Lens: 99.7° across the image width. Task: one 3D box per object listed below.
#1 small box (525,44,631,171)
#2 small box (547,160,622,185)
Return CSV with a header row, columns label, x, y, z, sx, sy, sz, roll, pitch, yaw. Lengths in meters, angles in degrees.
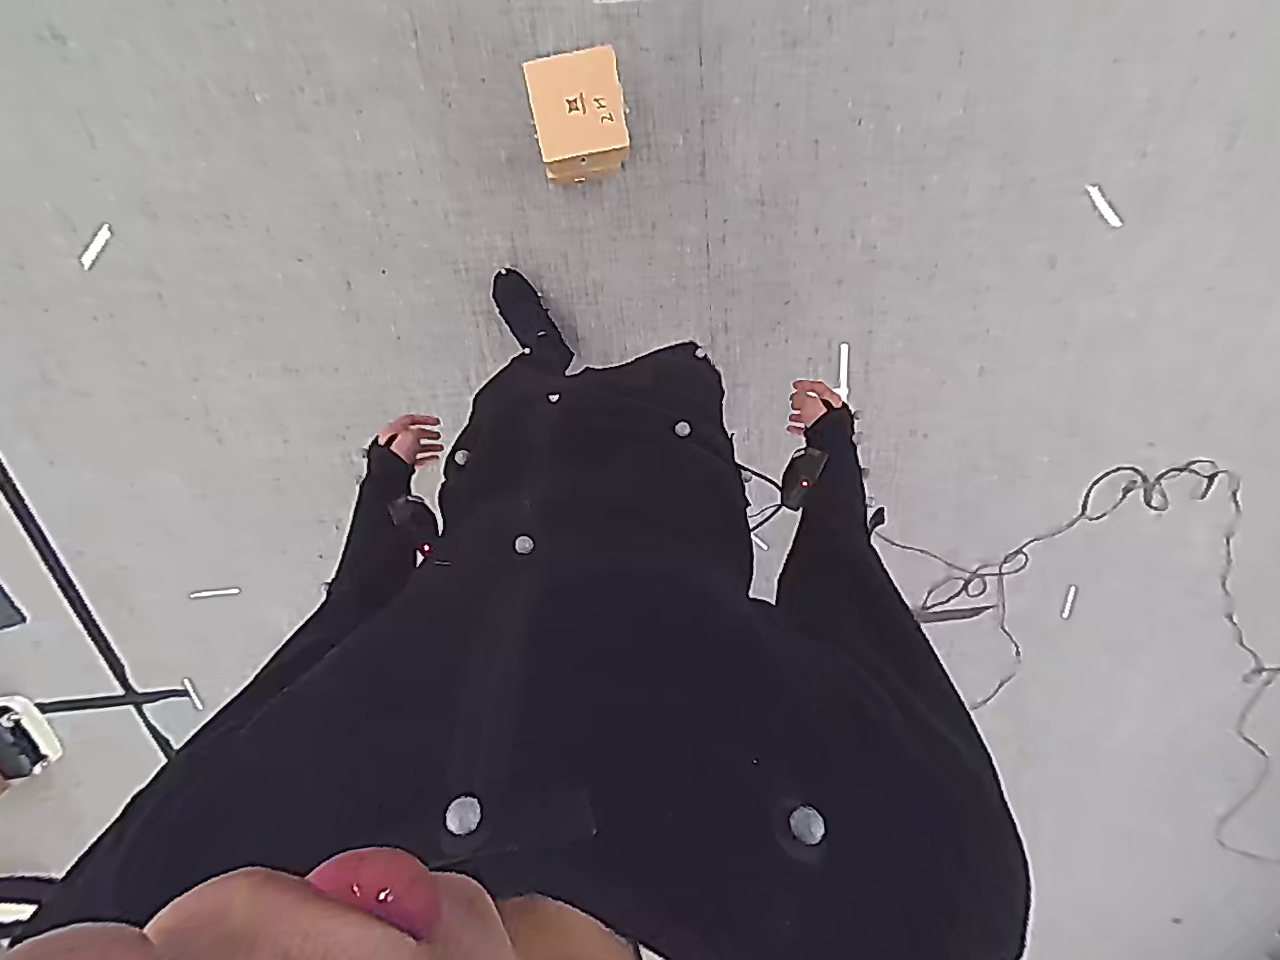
label,x,y,z,sx,sy,sz,roll,pitch,yaw
small box,-0.116,-0.738,1.090,0.179,0.176,0.168,-10,113,1
small box,-0.138,-0.797,1.243,0.168,0.176,0.179,-9,113,1
